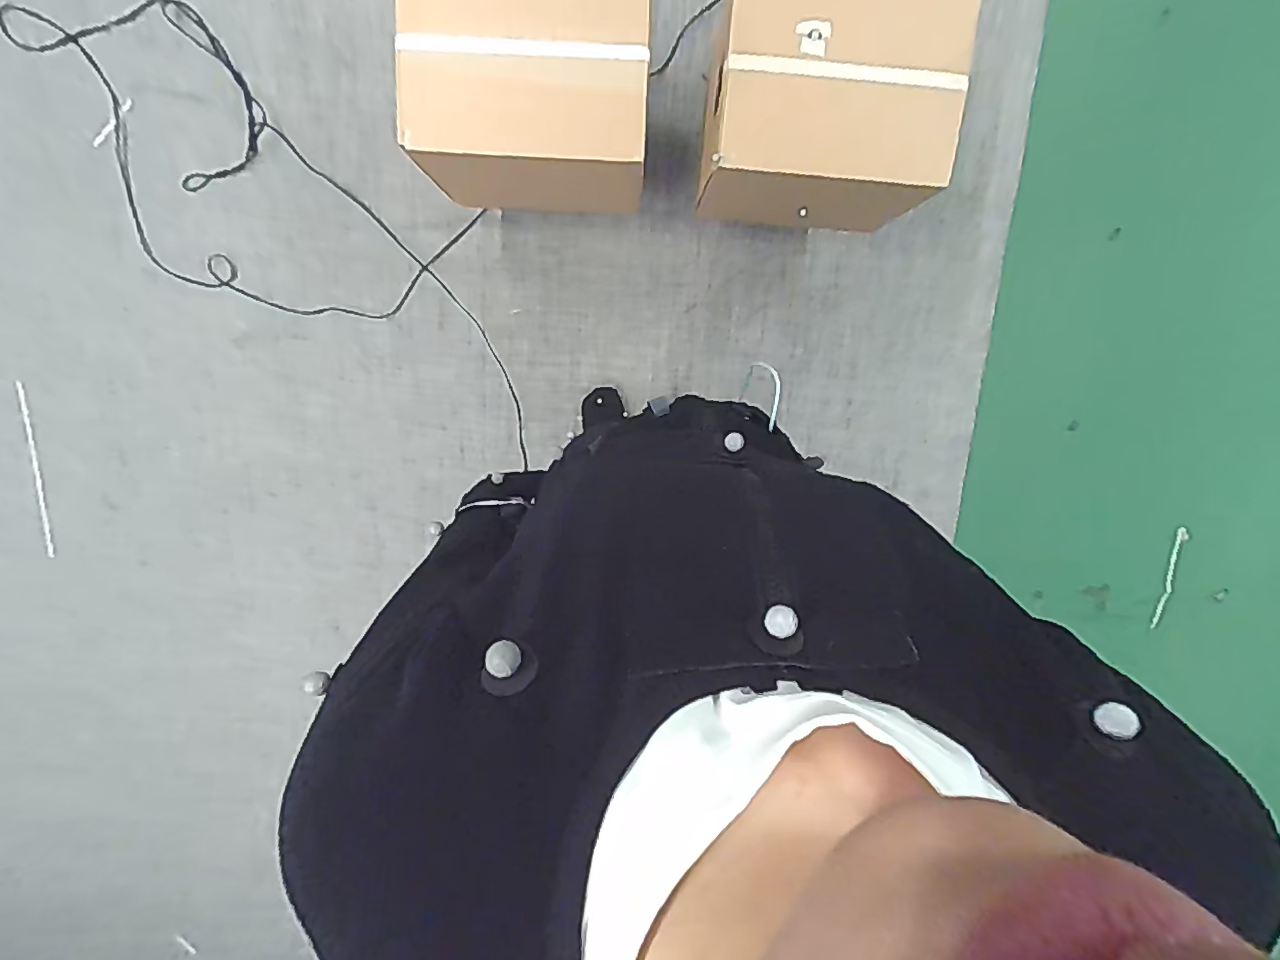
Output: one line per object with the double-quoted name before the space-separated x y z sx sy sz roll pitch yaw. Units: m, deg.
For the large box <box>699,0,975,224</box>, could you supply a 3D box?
"large box" 0.342 -0.707 1.050 0.408 0.320 0.320 4 101 -2
